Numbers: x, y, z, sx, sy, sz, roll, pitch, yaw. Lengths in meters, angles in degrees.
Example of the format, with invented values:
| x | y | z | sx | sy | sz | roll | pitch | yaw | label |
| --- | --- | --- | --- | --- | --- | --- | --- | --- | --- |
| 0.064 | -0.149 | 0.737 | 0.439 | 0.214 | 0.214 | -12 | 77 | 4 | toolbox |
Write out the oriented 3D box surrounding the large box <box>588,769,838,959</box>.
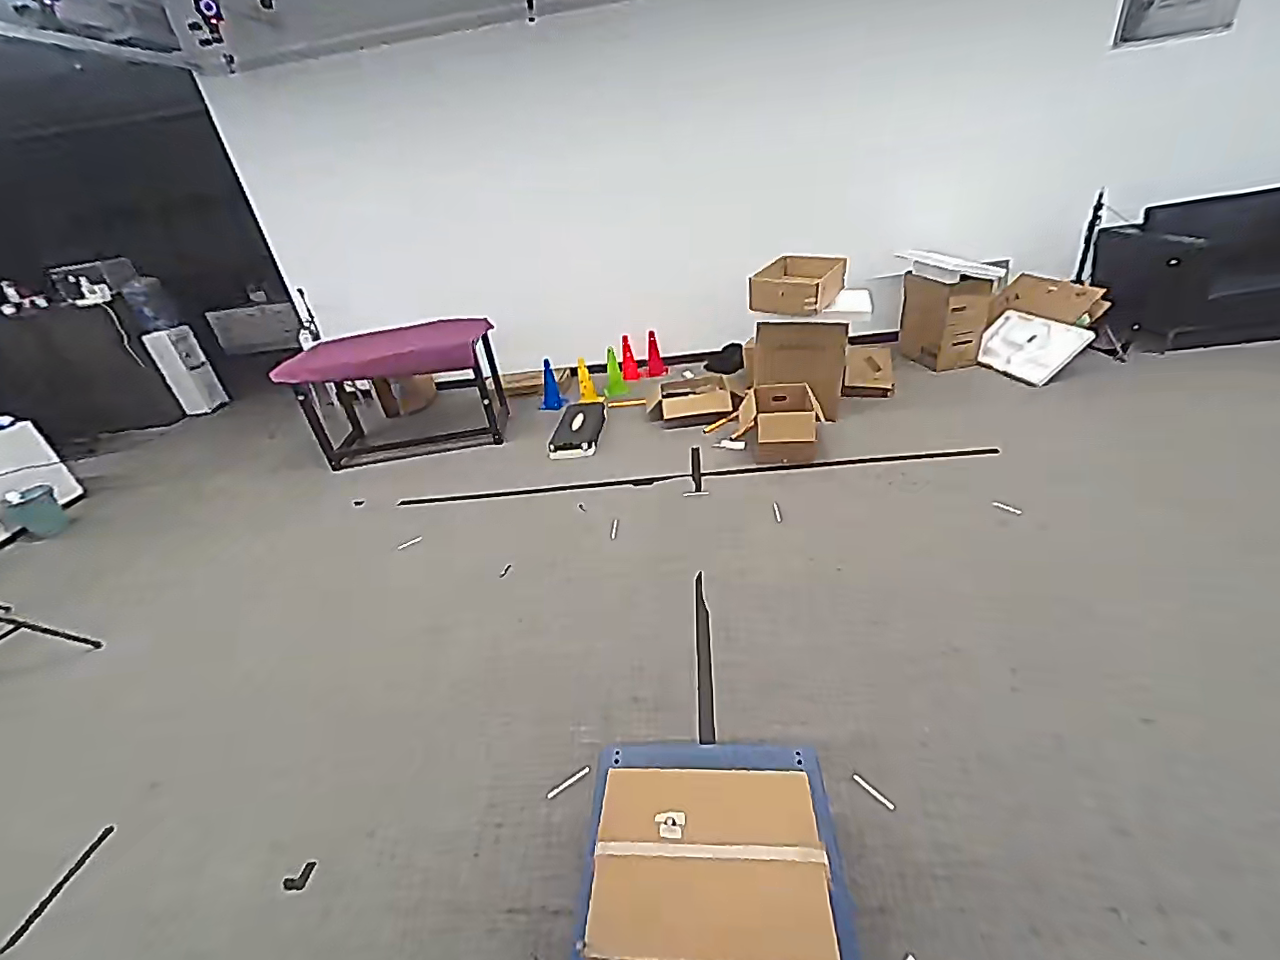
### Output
| x | y | z | sx | sy | sz | roll | pitch | yaw | label |
| --- | --- | --- | --- | --- | --- | --- | --- | --- | --- |
| 0.144 | 0.807 | 1.061 | 0.408 | 0.320 | 0.320 | -5 | 30 | 8 | large box |
